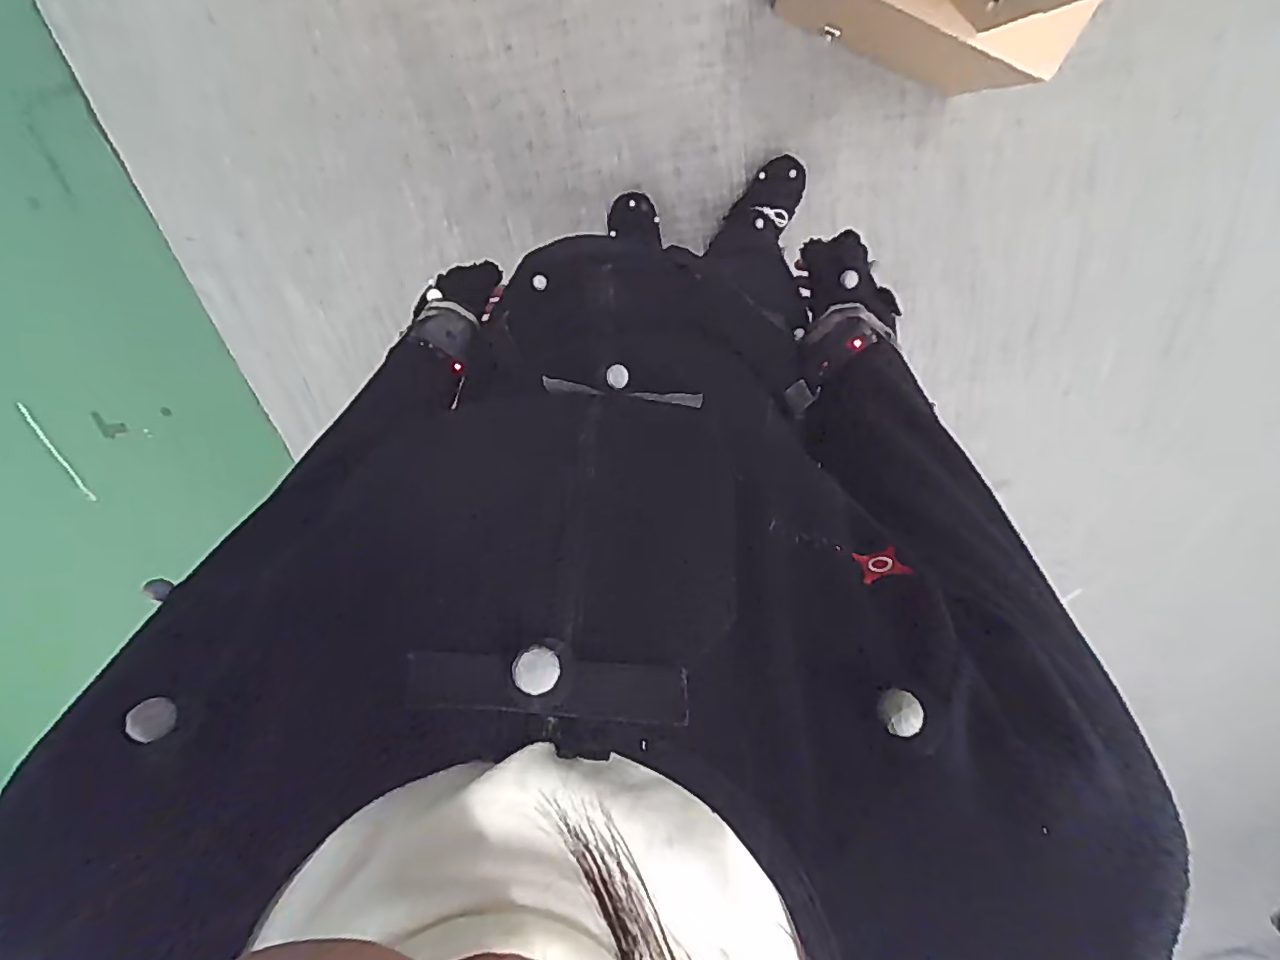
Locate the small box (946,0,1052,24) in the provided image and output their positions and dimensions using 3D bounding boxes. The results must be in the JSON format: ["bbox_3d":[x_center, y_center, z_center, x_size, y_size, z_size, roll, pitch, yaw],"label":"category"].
[{"bbox_3d":[0.470,-0.711,0.665,0.179,0.176,0.168,32,116,-15],"label":"small box"}]
